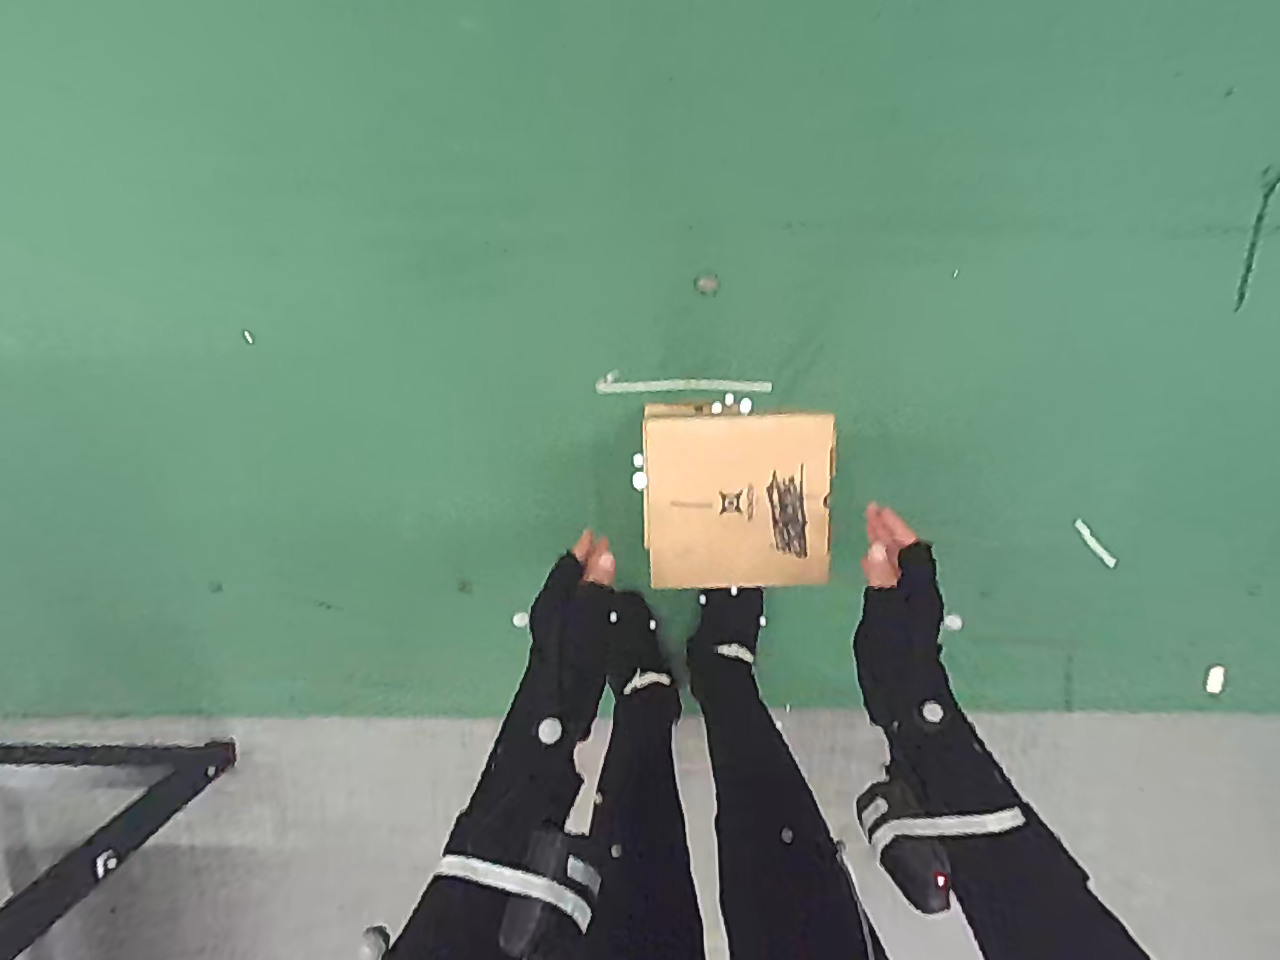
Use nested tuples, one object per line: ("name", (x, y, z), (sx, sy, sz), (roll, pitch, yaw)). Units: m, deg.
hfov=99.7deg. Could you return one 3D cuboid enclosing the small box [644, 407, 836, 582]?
("small box", (0.094, 0.006, 0.590), (0.179, 0.176, 0.168), (1, 97, 1))
